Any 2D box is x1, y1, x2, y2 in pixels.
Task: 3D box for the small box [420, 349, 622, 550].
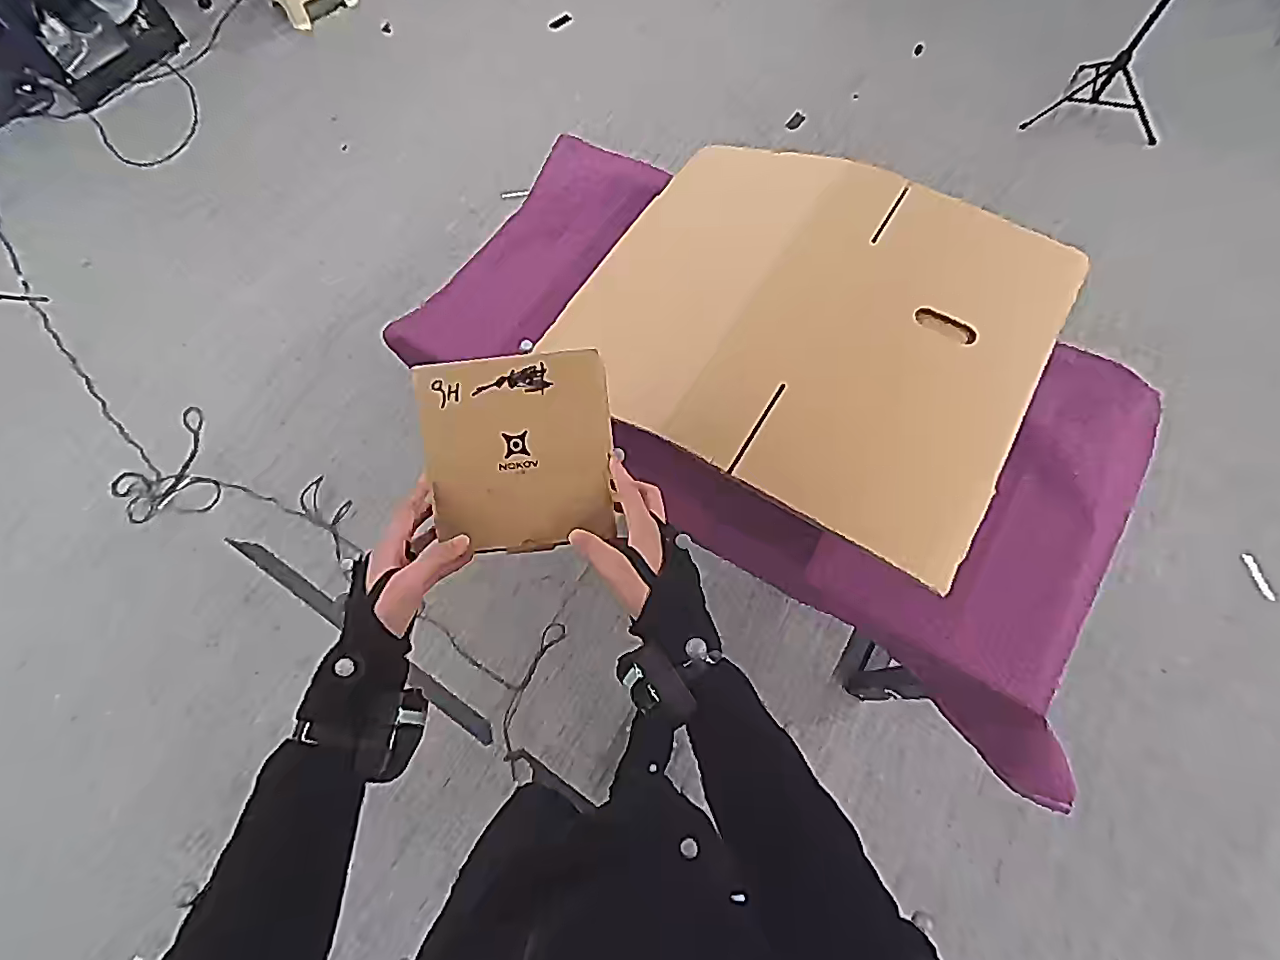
[{"bbox_3d":[-0.109,-0.038,0.573,0.168,0.176,0.179,-6,98,-1],"label":"small box"}]
